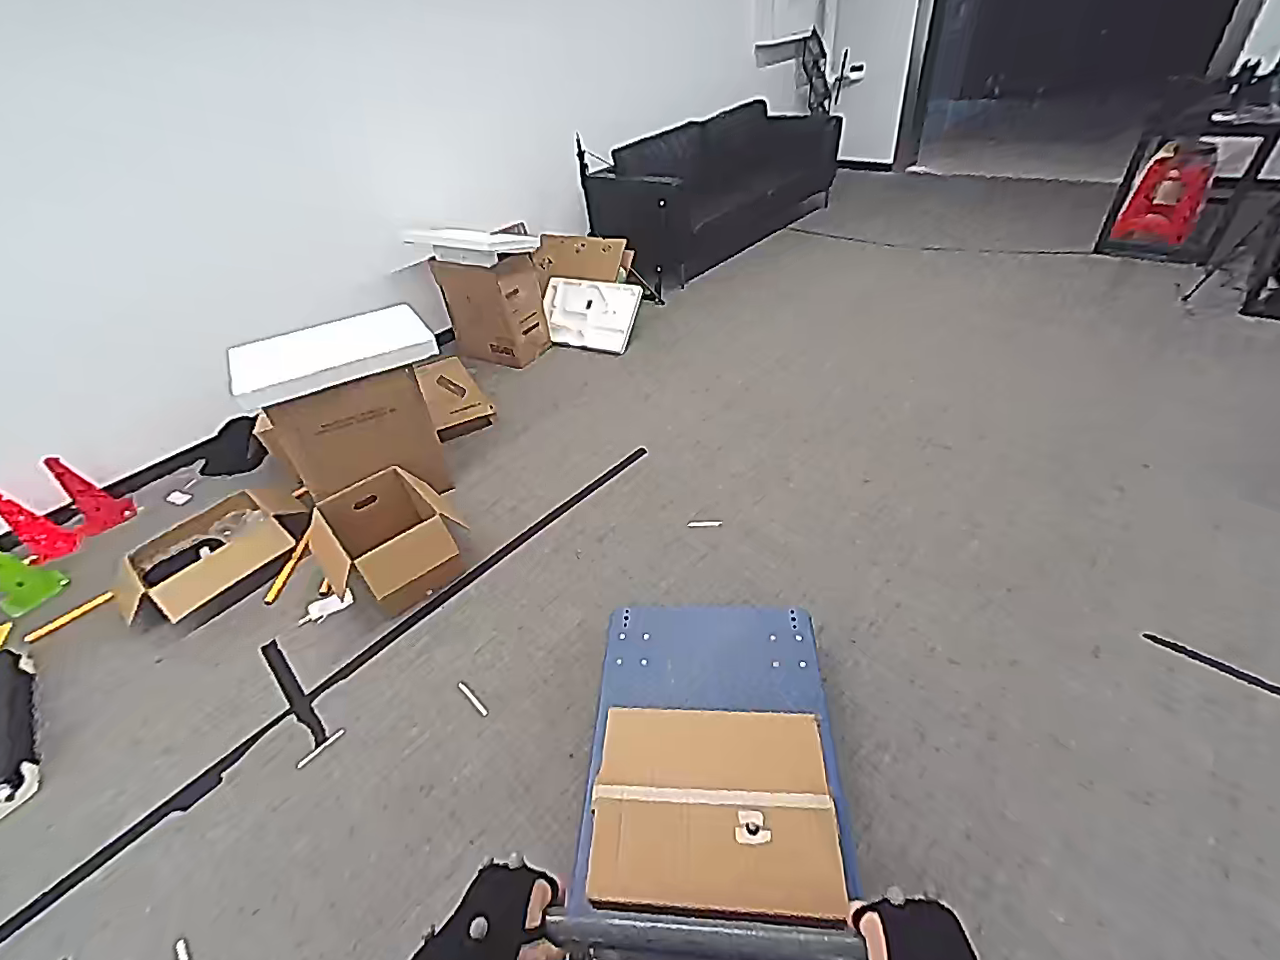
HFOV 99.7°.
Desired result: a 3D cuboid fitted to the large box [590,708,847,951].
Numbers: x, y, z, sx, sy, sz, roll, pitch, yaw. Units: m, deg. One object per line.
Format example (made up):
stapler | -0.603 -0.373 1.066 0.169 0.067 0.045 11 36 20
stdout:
large box | 0.137 0.665 1.038 0.408 0.320 0.320 -1 41 6
